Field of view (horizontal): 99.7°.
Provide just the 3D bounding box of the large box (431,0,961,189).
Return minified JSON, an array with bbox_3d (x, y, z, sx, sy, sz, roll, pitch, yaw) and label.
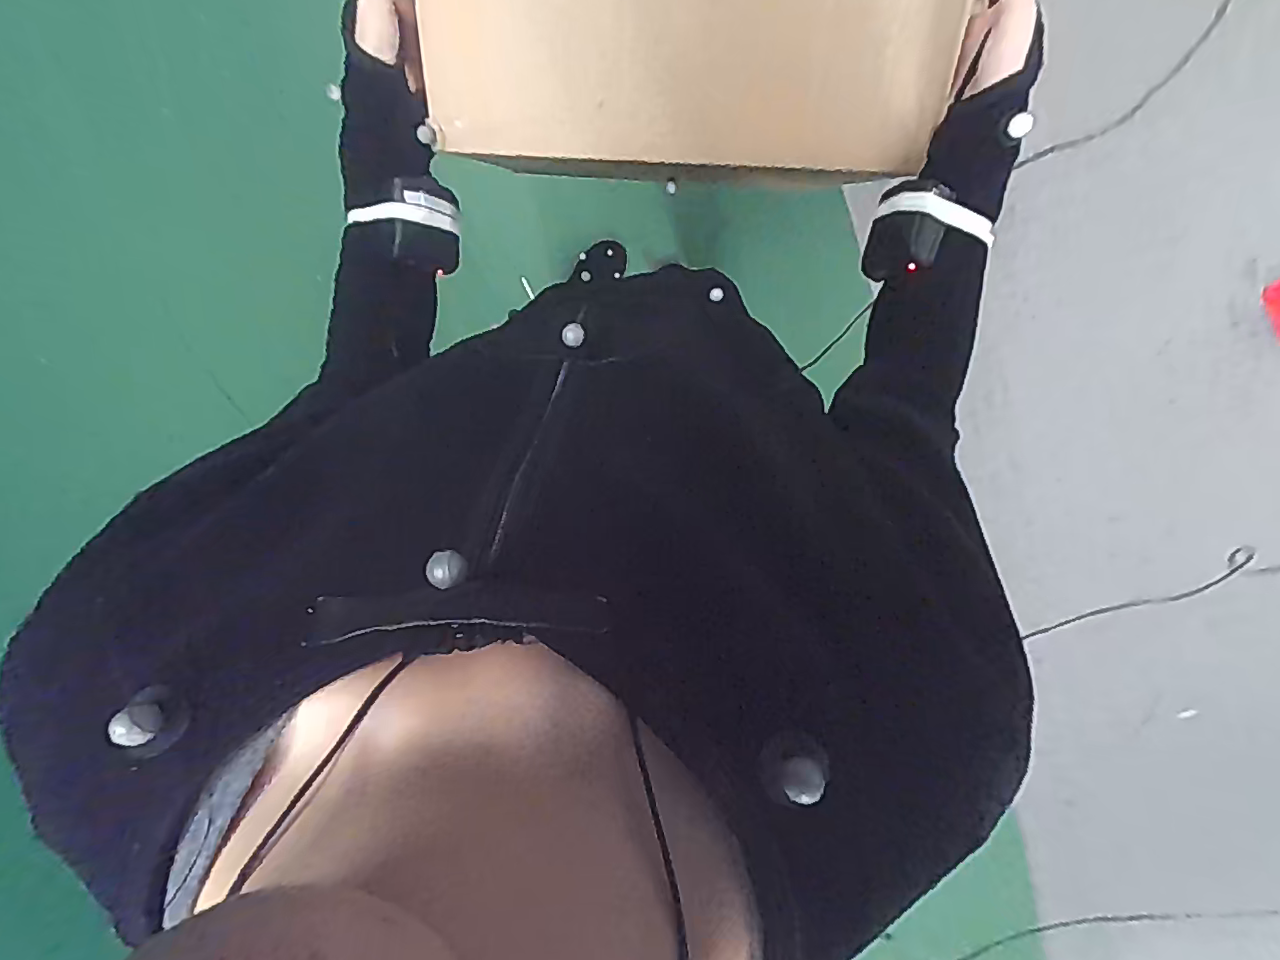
[{"bbox_3d":[0.047,-0.463,0.519,0.408,0.320,0.320,3,115,0],"label":"large box"}]
